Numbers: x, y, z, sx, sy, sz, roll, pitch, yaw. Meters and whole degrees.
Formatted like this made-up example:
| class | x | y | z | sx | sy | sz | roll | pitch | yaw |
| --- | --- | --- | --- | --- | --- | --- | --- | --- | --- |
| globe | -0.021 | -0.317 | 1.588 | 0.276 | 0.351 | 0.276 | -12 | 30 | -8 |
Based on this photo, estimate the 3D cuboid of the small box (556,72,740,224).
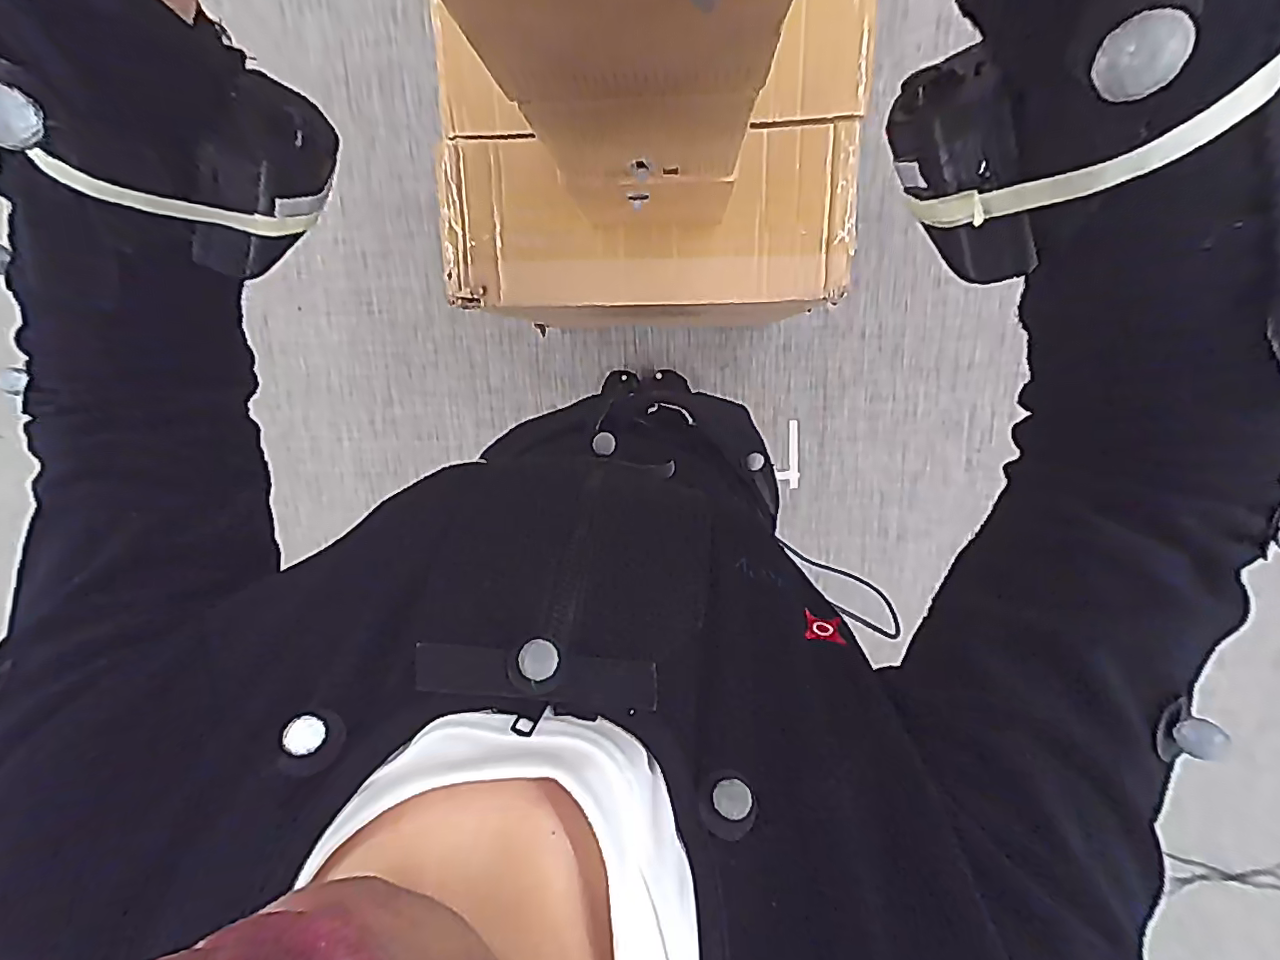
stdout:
| class | x | y | z | sx | sy | sz | roll | pitch | yaw |
| --- | --- | --- | --- | --- | --- | --- | --- | --- | --- |
| small box | 0.012 | -0.384 | 0.586 | 0.179 | 0.176 | 0.168 | 0 | 103 | 4 |

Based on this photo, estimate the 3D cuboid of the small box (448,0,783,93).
| class | x | y | z | sx | sy | sz | roll | pitch | yaw |
| --- | --- | --- | --- | --- | --- | --- | --- | --- | --- |
| small box | -0.010 | -0.320 | 0.264 | 0.179 | 0.176 | 0.168 | 0 | 103 | 4 |
